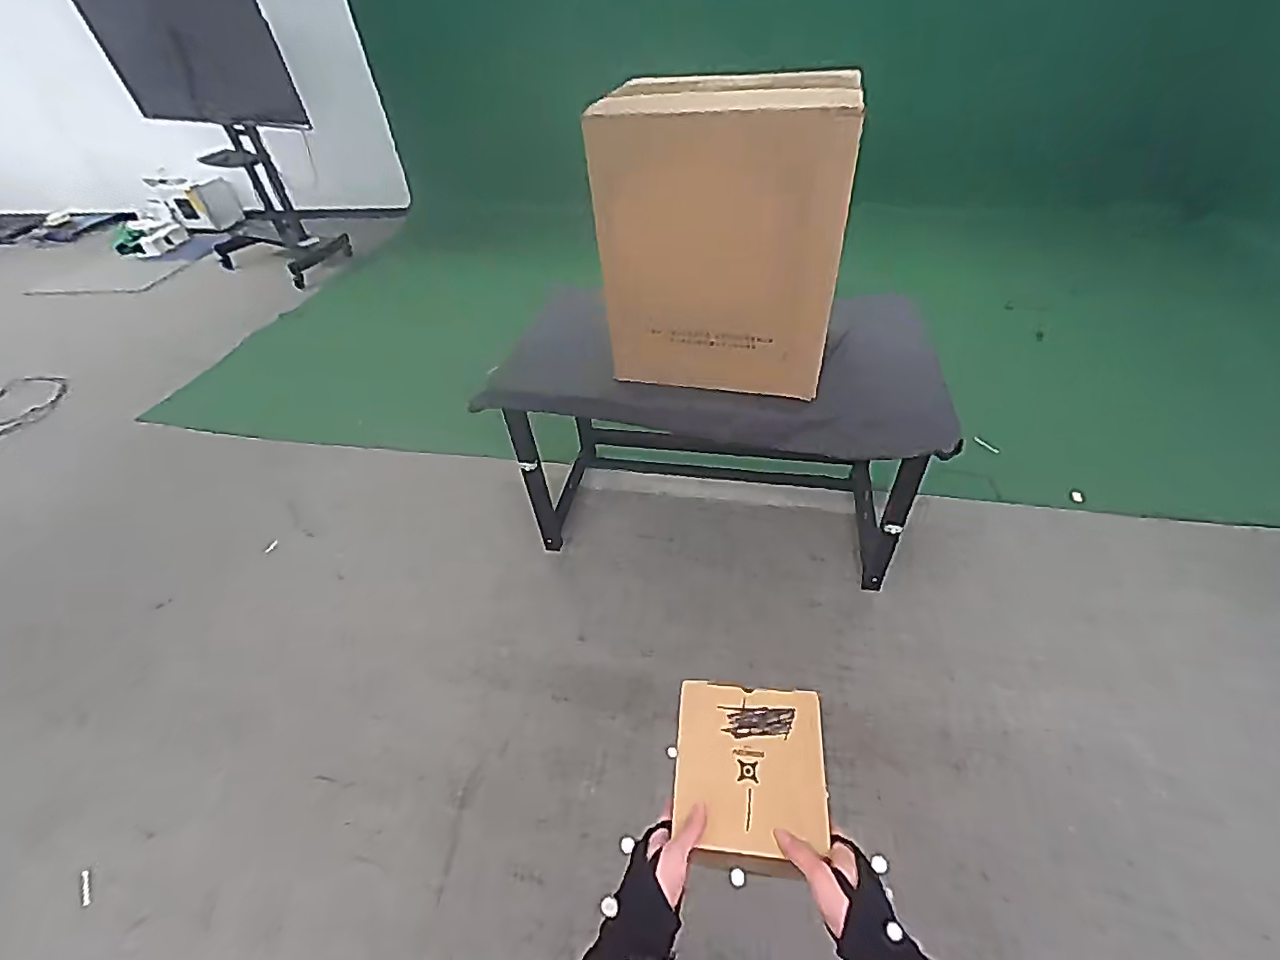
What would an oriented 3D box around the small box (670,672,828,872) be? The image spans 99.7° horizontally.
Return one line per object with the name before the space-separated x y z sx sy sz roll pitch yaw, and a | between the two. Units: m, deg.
small box | 0.128 0.363 0.673 0.168 0.176 0.179 3 50 8
